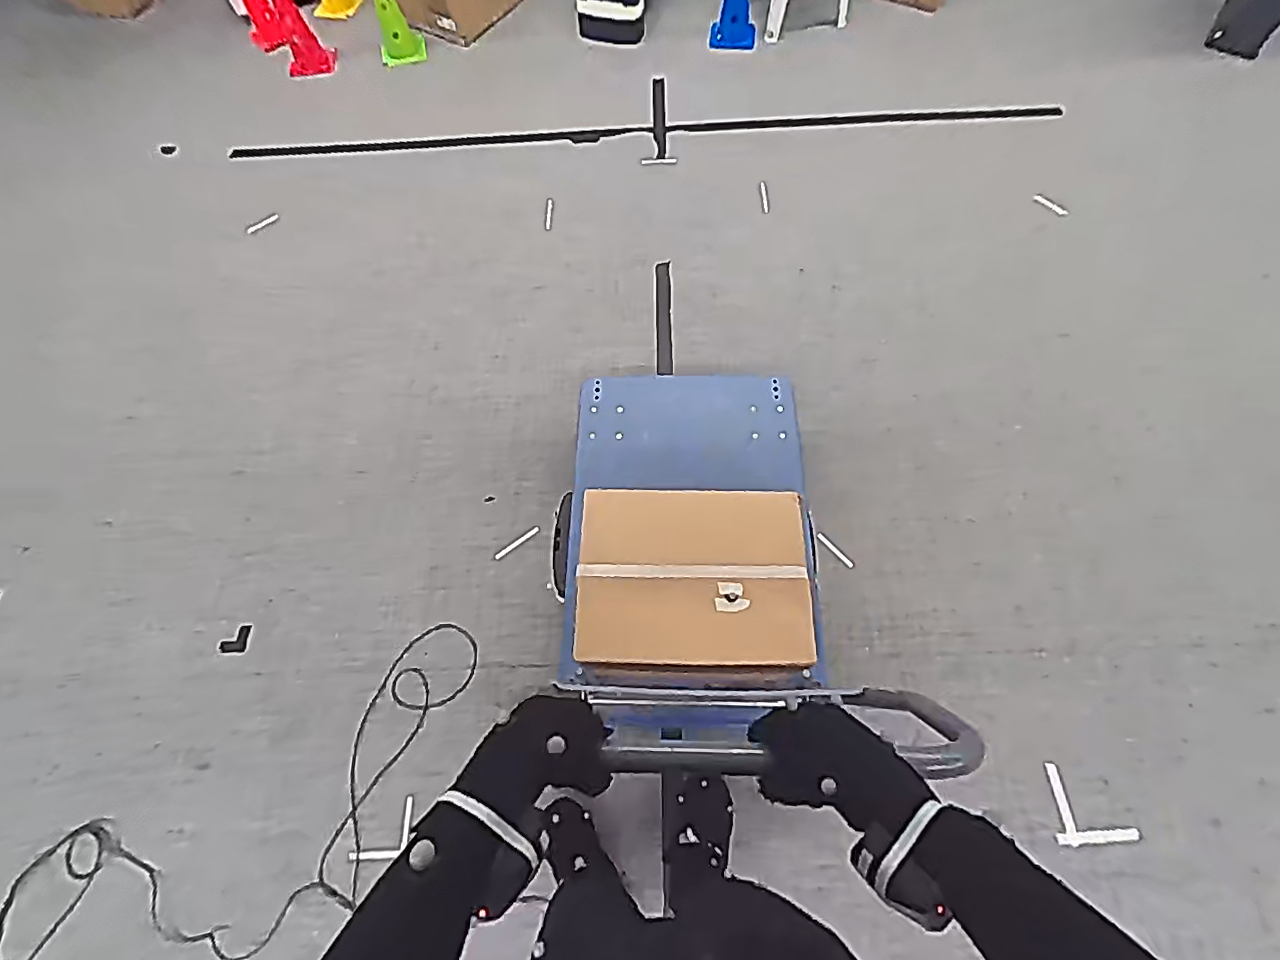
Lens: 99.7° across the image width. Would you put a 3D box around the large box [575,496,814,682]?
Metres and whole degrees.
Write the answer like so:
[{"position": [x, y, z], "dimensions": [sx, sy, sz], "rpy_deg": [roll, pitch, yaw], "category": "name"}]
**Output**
[{"position": [0.090, 0.231, 1.084], "dimensions": [0.408, 0.320, 0.320], "rpy_deg": [0, 67, 1], "category": "large box"}]
